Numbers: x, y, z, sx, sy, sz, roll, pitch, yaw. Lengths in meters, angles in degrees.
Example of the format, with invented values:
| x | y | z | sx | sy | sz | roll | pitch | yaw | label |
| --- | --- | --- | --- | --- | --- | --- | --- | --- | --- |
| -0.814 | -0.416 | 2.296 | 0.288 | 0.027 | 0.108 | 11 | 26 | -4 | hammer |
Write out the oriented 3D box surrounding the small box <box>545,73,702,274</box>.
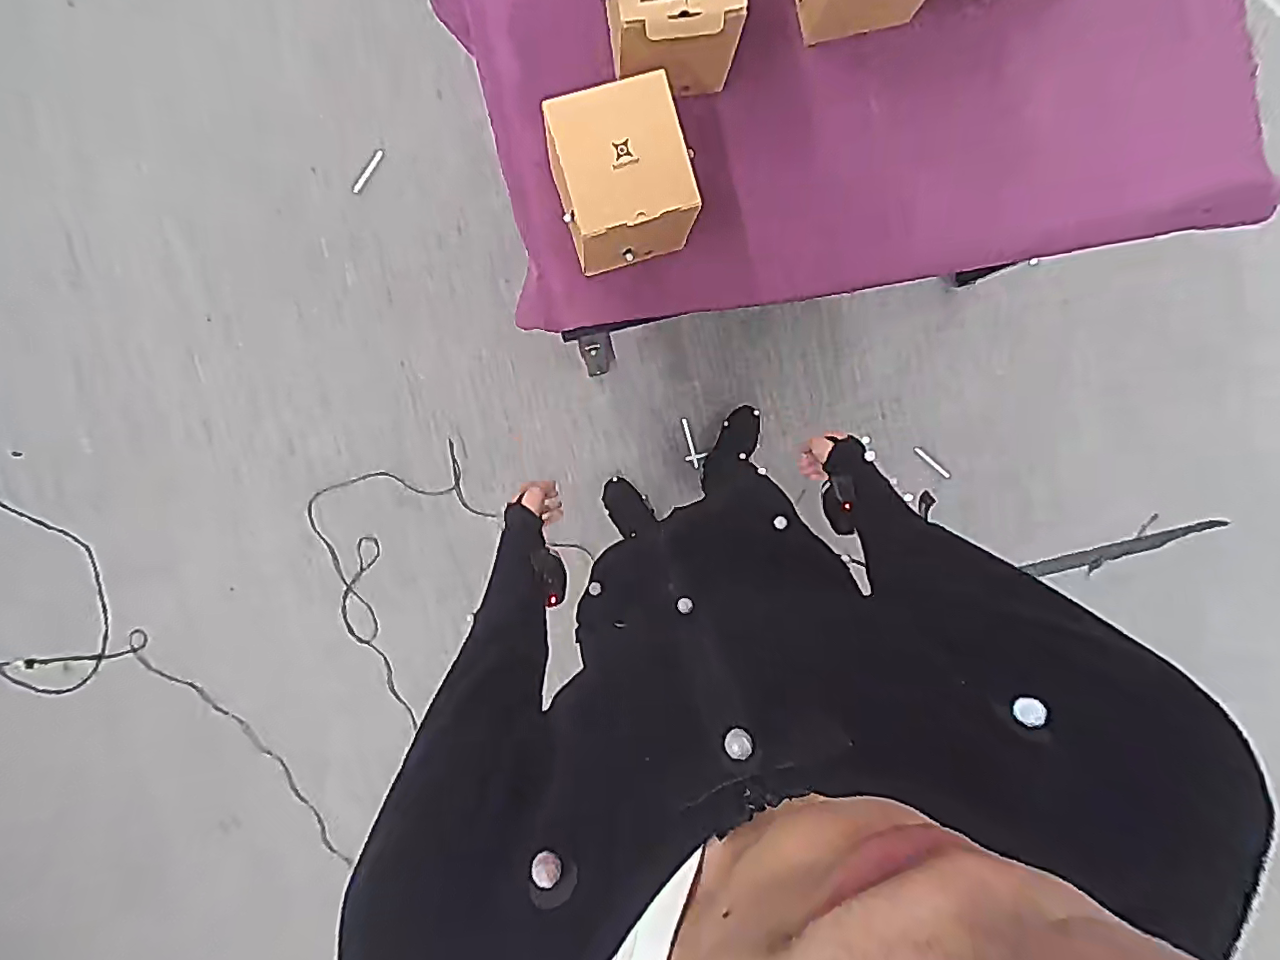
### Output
| x | y | z | sx | sy | sz | roll | pitch | yaw | label |
| --- | --- | --- | --- | --- | --- | --- | --- | --- | --- |
| -0.028 | -0.423 | 0.773 | 0.168 | 0.176 | 0.179 | -18 | 96 | -3 | small box |

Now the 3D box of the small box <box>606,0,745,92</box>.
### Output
| x | y | z | sx | sy | sz | roll | pitch | yaw | label |
| --- | --- | --- | --- | --- | --- | --- | --- | --- | --- |
| 0.040 | -0.675 | 0.758 | 0.168 | 0.176 | 0.179 | -8 | 95 | -3 | small box |
